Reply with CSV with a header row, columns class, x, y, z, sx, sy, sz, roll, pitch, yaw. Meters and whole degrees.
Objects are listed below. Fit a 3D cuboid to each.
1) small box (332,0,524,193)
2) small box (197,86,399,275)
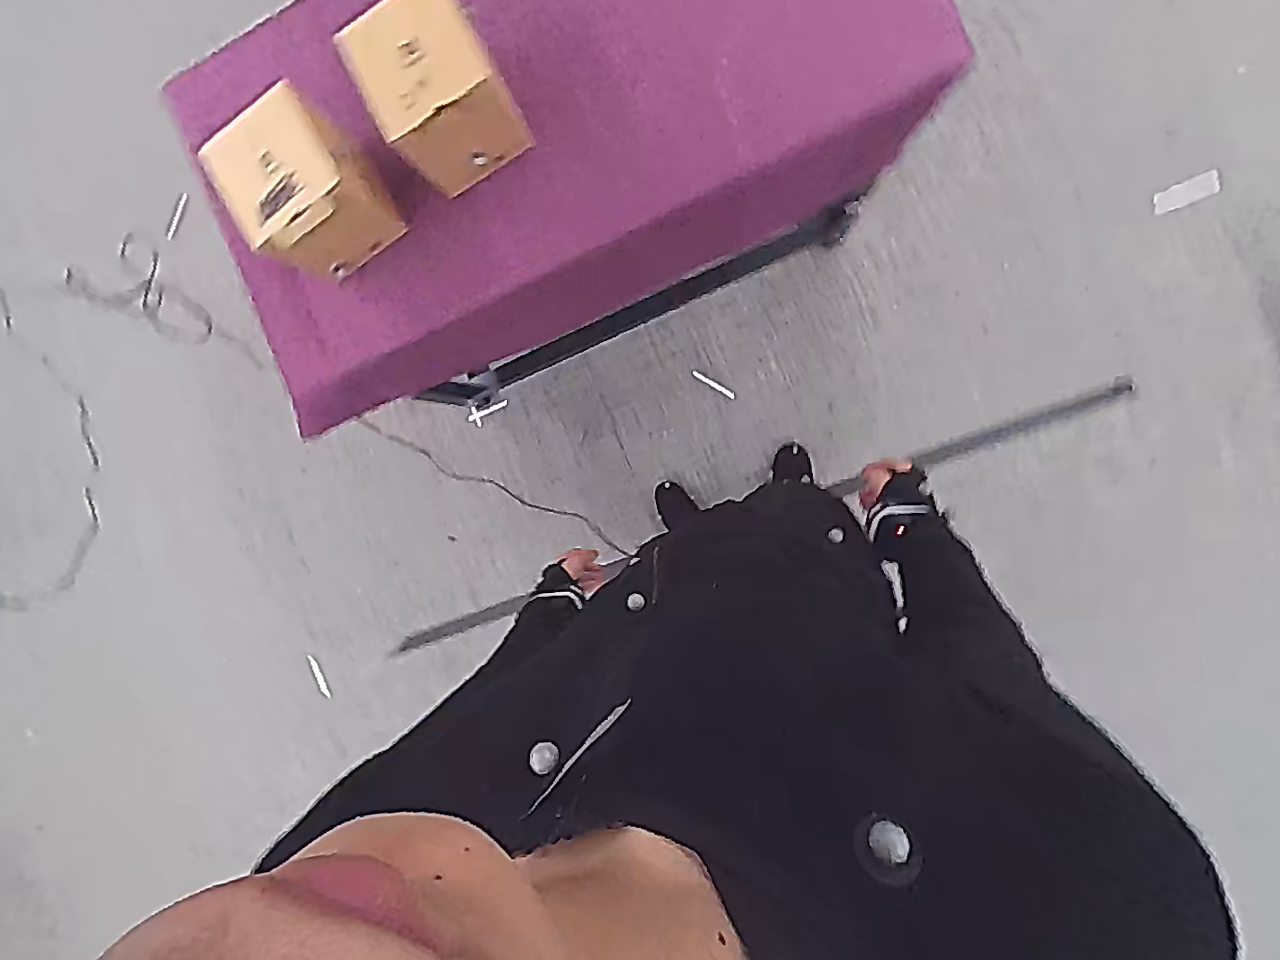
class,x,y,z,sx,sy,sz,roll,pitch,yaw
small box,-0.303,-0.576,0.807,0.168,0.176,0.179,-28,90,10
small box,-0.521,-0.447,0.849,0.168,0.176,0.179,-32,88,9
